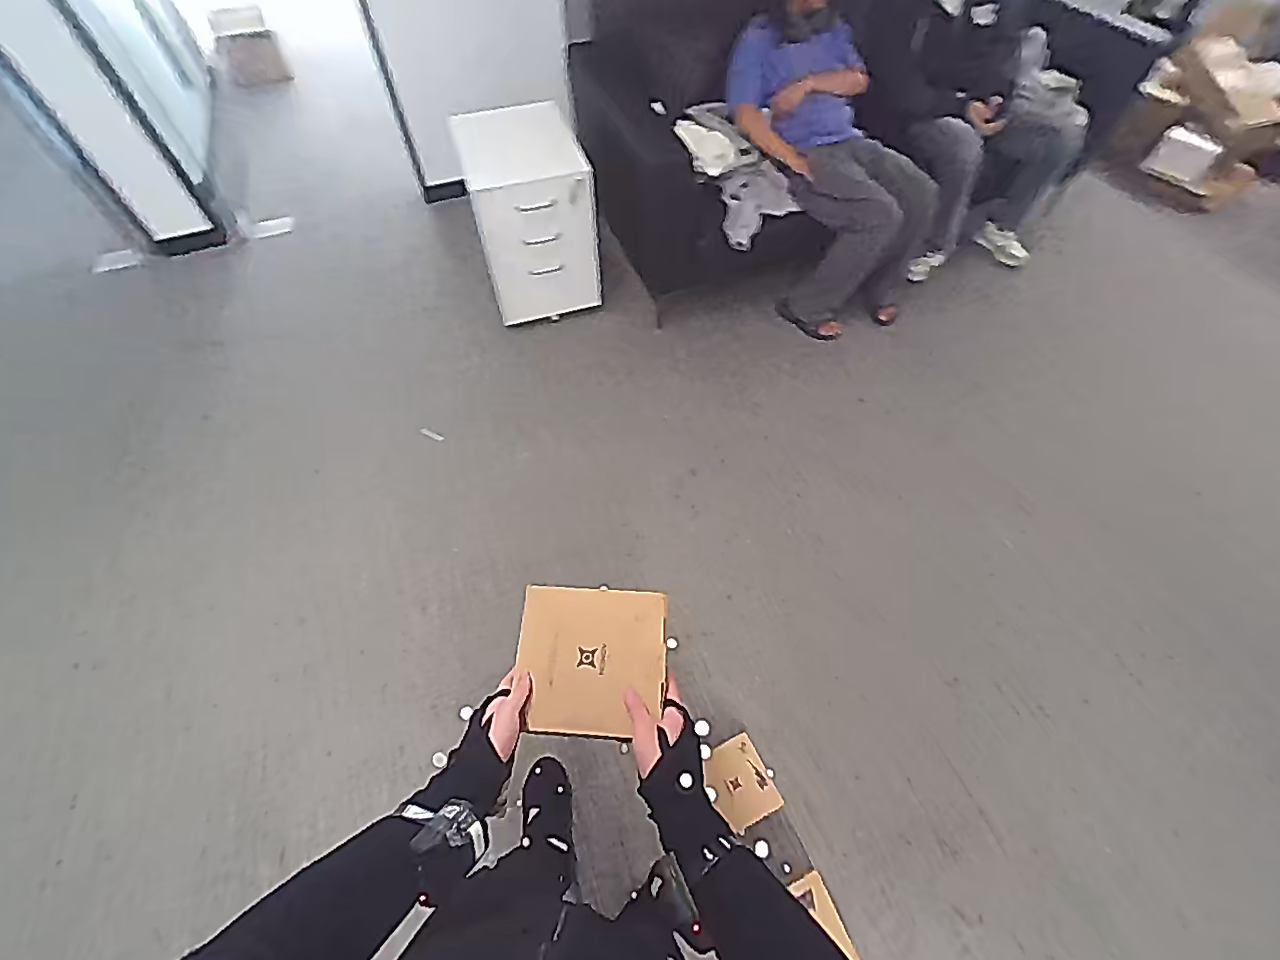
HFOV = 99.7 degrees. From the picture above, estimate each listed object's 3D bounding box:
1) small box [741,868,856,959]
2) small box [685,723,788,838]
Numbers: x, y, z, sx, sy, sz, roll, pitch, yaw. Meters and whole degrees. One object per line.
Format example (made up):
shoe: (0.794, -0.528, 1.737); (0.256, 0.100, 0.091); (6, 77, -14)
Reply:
small box: (0.322, 0.939, 1.127); (0.168, 0.176, 0.179); (-16, 57, -7)
small box: (0.220, 0.713, 1.274); (0.179, 0.176, 0.168); (29, 60, 20)
